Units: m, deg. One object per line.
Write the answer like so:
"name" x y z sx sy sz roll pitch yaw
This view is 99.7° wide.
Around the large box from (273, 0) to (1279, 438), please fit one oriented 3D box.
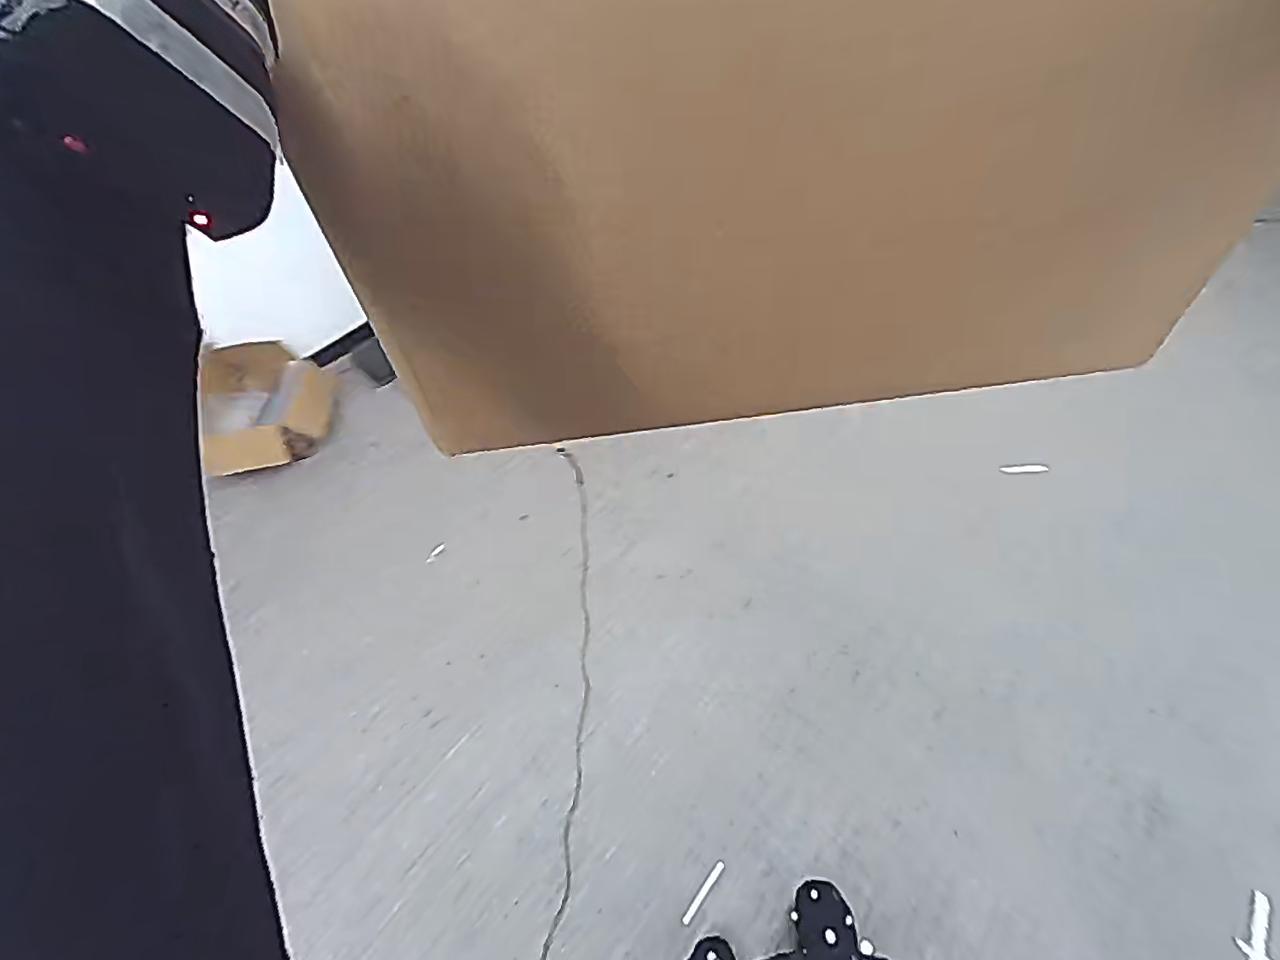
"large box" 0.064 -0.254 0.307 0.408 0.320 0.320 -7 48 -1
